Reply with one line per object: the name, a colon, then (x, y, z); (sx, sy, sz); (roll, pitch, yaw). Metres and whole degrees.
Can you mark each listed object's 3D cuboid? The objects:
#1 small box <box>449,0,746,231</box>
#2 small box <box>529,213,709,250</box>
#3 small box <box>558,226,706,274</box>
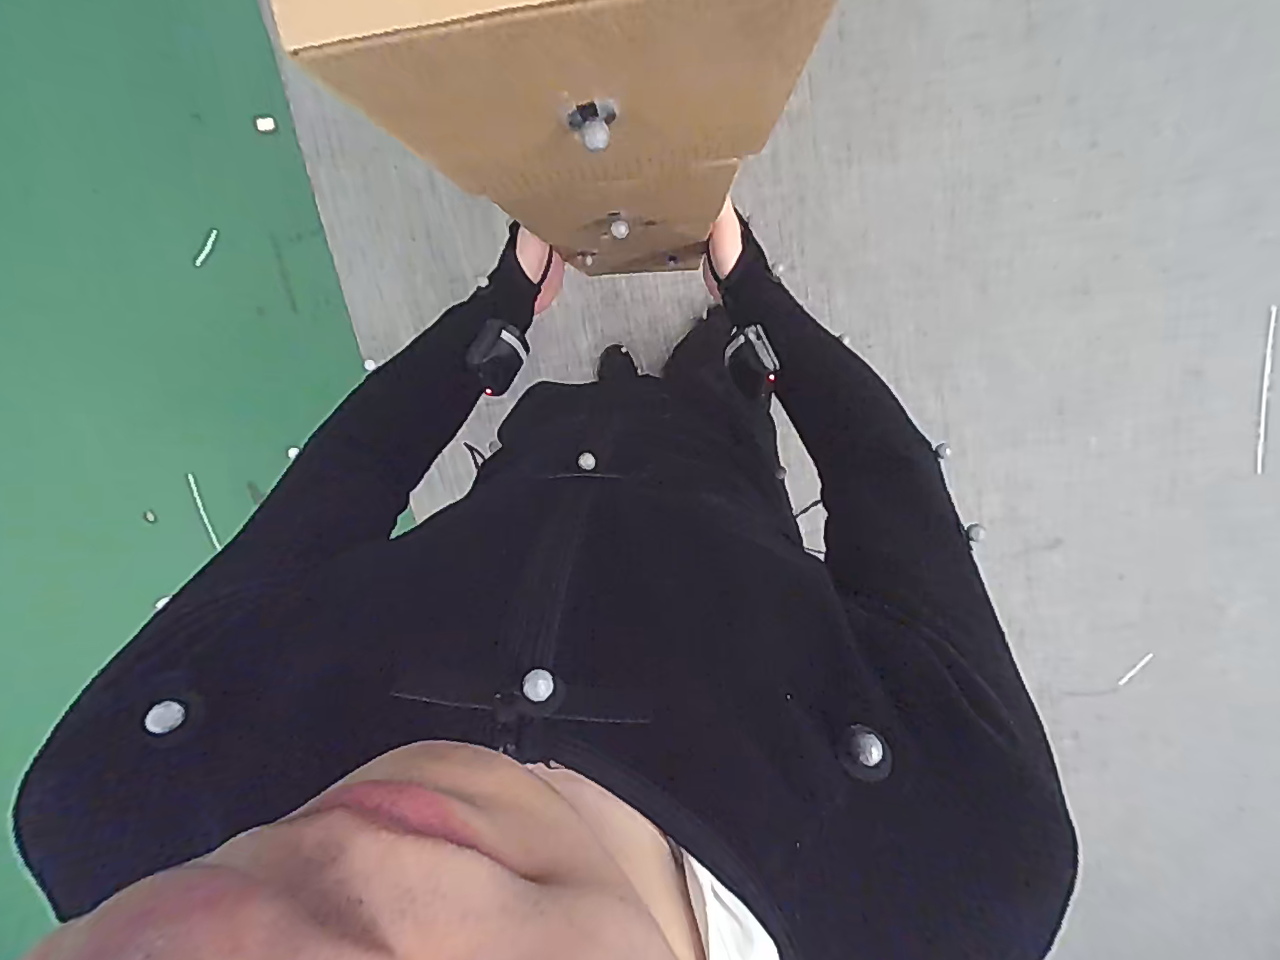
small box: (-0.021, -0.287, 0.372); (0.168, 0.176, 0.179); (-2, 103, 4)
small box: (-0.014, -0.330, 0.532); (0.168, 0.176, 0.179); (0, 103, 2)
small box: (-0.009, -0.364, 0.693); (0.179, 0.176, 0.168); (-2, 103, 3)
